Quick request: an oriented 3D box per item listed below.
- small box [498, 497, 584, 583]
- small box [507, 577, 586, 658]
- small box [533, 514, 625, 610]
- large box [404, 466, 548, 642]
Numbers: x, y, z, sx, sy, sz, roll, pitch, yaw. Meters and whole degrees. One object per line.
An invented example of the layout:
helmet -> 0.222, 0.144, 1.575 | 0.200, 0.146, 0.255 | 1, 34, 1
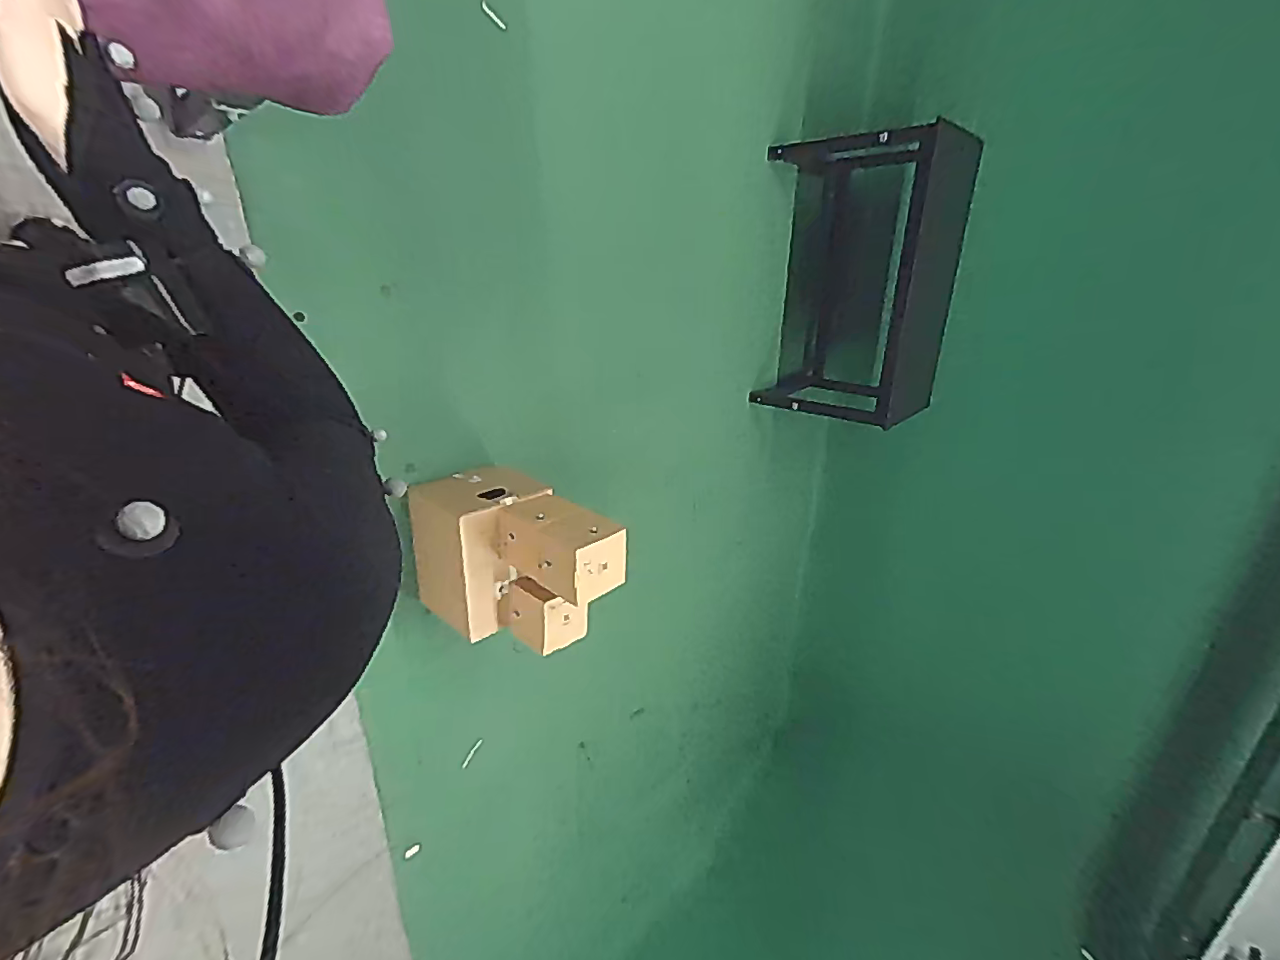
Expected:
small box -> -0.280, 0.160, 1.524 | 0.179, 0.176, 0.168 | -19, 119, -44
small box -> -0.281, 0.392, 1.612 | 0.168, 0.176, 0.179 | -12, 113, -47
small box -> -0.160, 0.205, 1.420 | 0.179, 0.176, 0.168 | -20, 120, -44
large box -> -0.495, 0.209, 1.678 | 0.320, 0.320, 0.408 | -19, 119, -44
